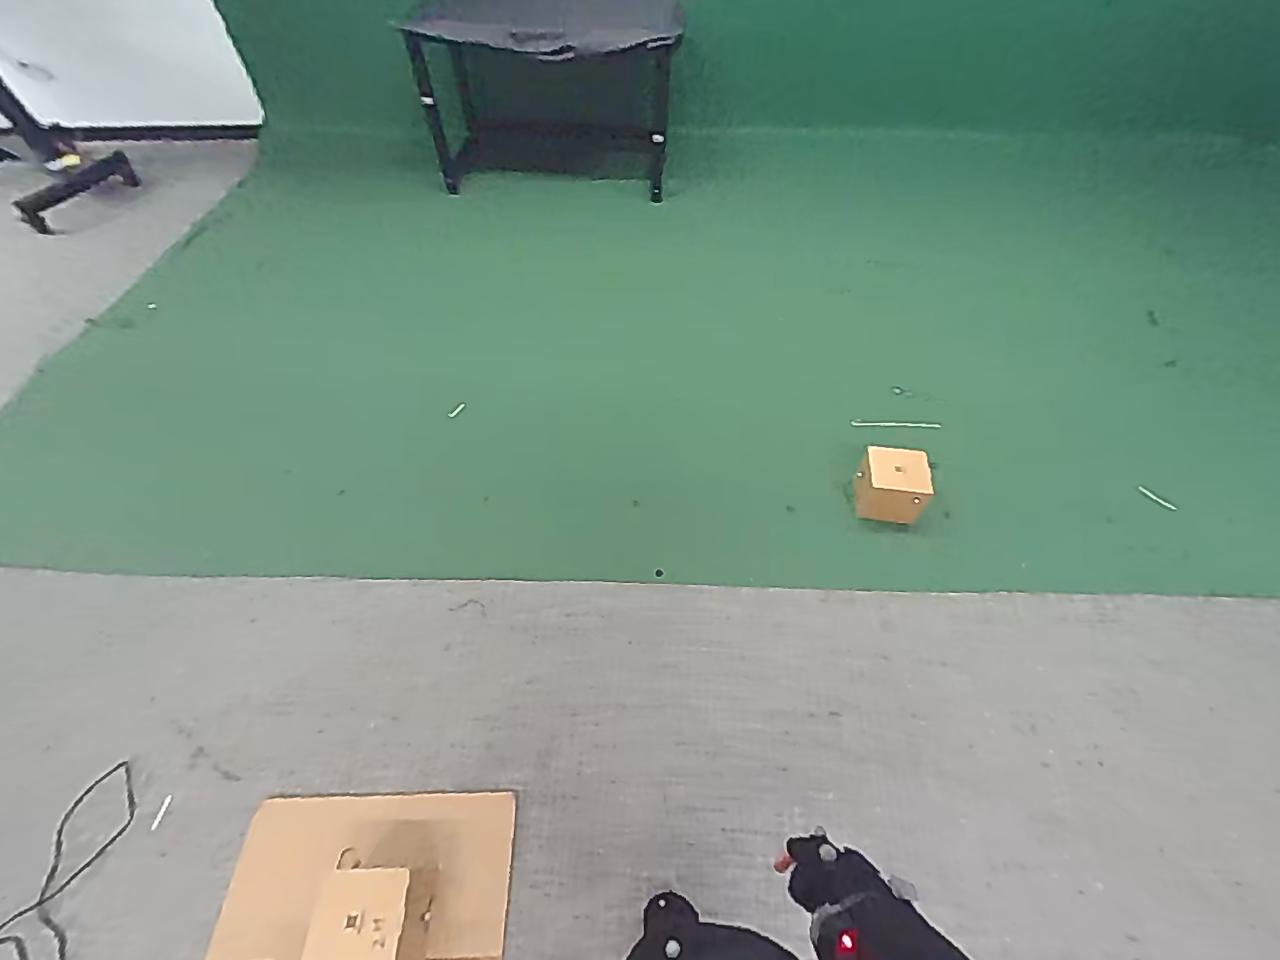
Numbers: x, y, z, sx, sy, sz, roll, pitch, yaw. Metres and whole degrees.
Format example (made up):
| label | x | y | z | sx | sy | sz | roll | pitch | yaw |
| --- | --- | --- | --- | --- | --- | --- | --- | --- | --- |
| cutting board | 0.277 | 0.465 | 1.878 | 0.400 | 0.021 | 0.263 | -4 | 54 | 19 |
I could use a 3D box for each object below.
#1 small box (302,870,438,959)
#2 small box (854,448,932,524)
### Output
| label | x | y | z | sx | sy | sz | roll | pitch | yaw |
| --- | --- | --- | --- | --- | --- | --- | --- | --- | --- |
| small box | -0.526 | 0.876 | 1.068 | 0.179 | 0.176 | 0.168 | -1 | 55 | 0 |
| small box | 0.780 | 0.021 | 1.692 | 0.179 | 0.176 | 0.168 | 7 | 53 | 6 |
